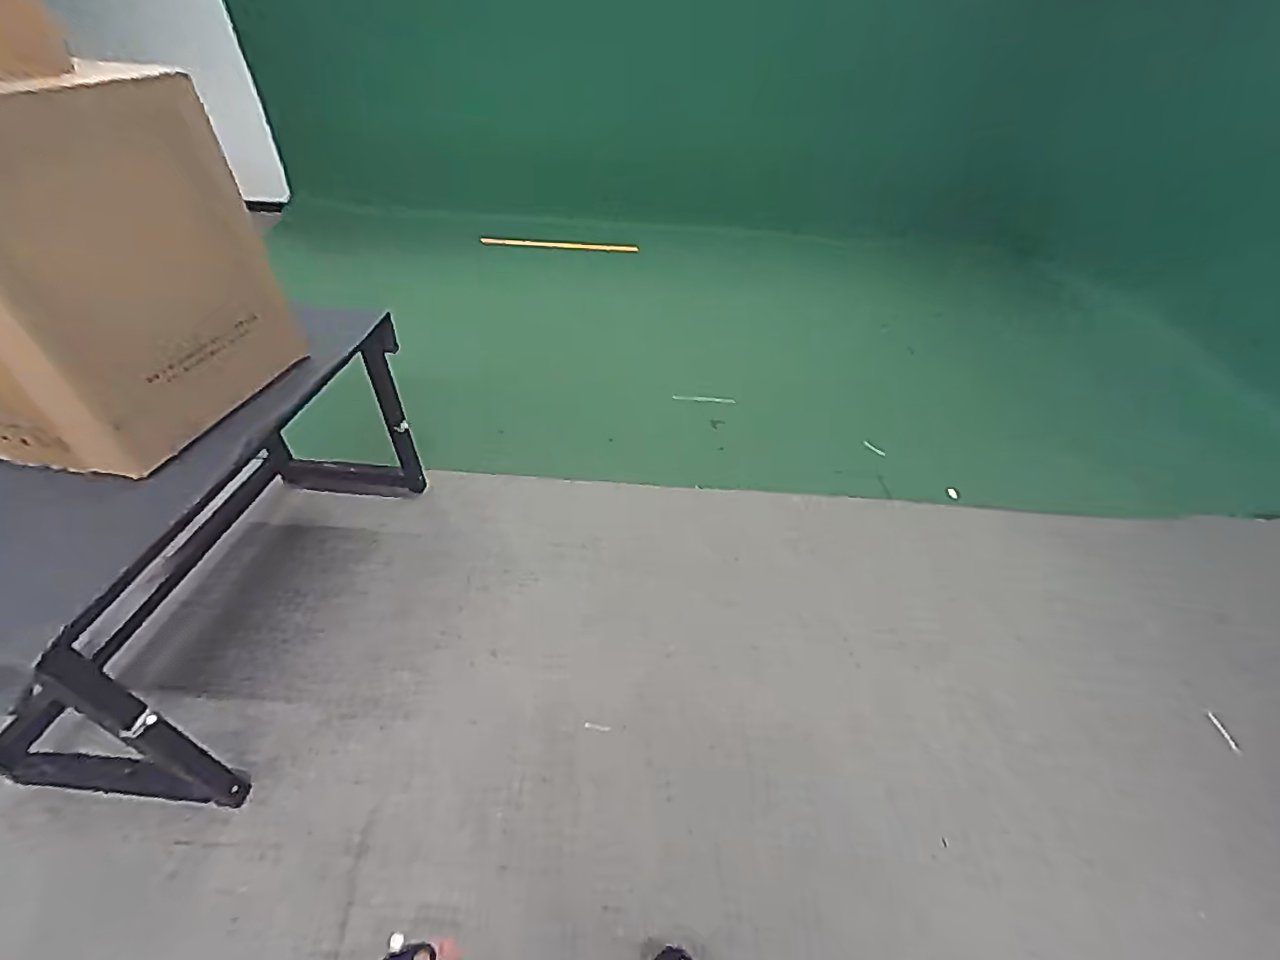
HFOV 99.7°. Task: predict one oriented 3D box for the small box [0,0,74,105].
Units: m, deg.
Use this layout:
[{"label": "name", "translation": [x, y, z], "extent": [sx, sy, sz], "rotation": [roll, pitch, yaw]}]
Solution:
[{"label": "small box", "translation": [-1.051, -0.698, 0.836], "extent": [0.168, 0.176, 0.179], "rotation": [11, 42, 6]}]
